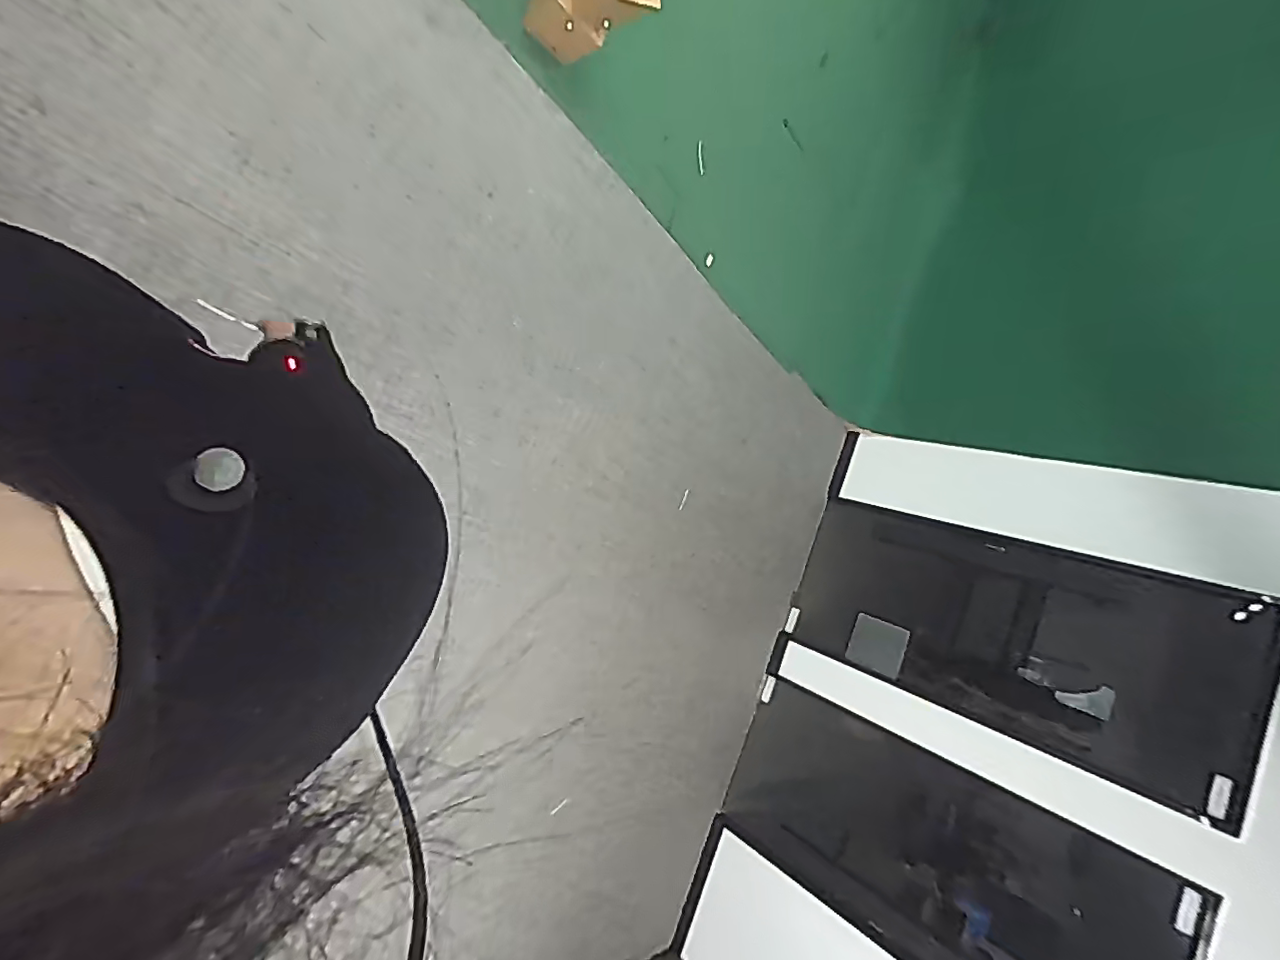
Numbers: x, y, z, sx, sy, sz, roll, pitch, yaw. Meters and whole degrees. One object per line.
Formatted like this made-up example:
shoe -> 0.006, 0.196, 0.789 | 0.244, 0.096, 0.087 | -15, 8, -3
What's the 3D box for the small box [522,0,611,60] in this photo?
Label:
small box -> -0.204, -1.323, 1.496 | 0.168, 0.176, 0.179 | 14, 91, -49
